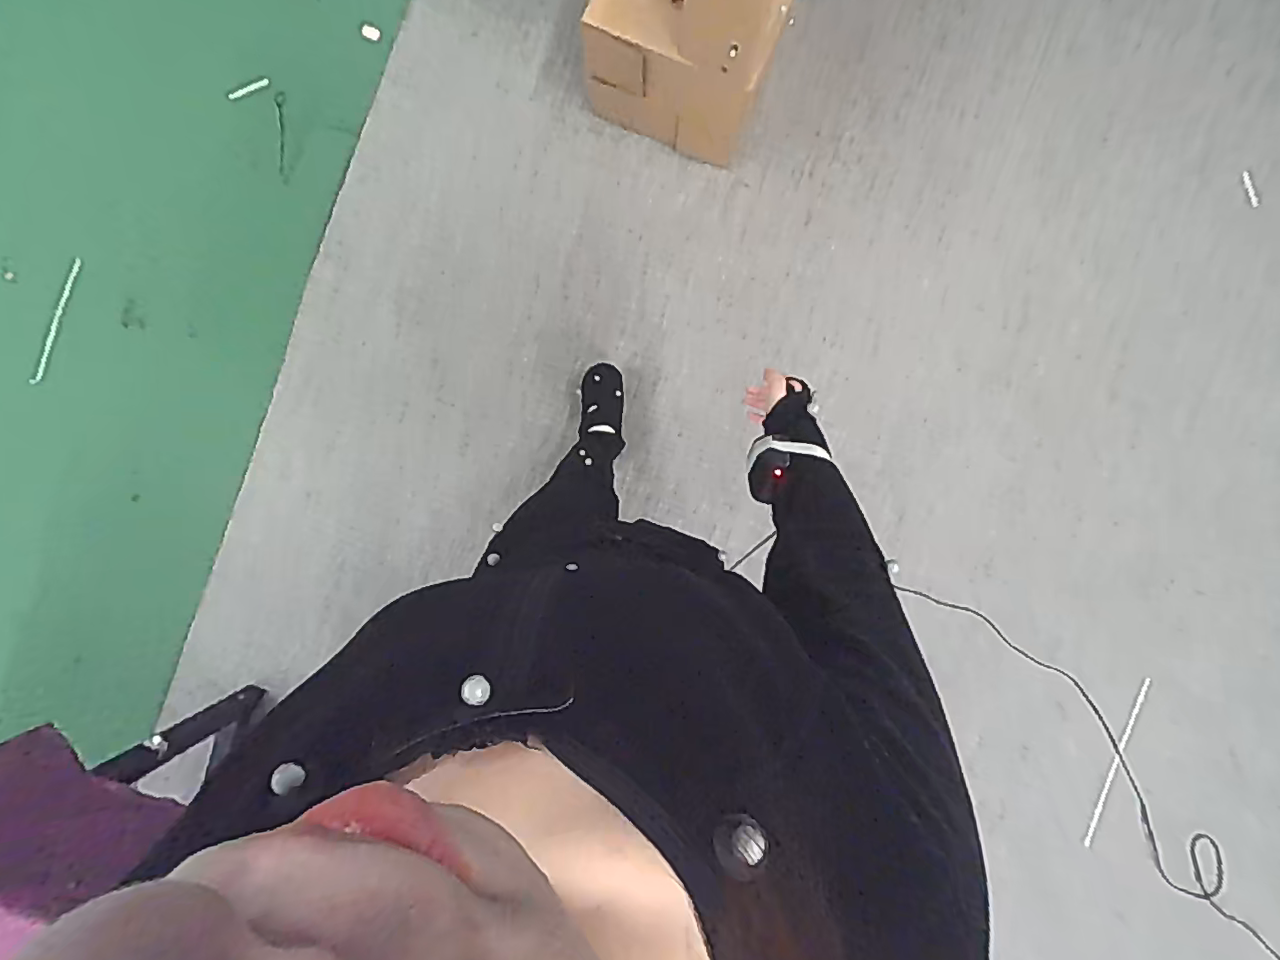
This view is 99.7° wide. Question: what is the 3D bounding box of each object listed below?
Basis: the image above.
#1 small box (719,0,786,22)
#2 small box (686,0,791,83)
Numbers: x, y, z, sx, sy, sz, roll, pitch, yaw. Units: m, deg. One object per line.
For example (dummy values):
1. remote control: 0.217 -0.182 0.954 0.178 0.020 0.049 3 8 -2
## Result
1. small box: 0.204 -0.931 0.904 0.179 0.176 0.168 28 91 0
2. small box: 0.200 -0.944 1.066 0.168 0.176 0.179 27 90 0
